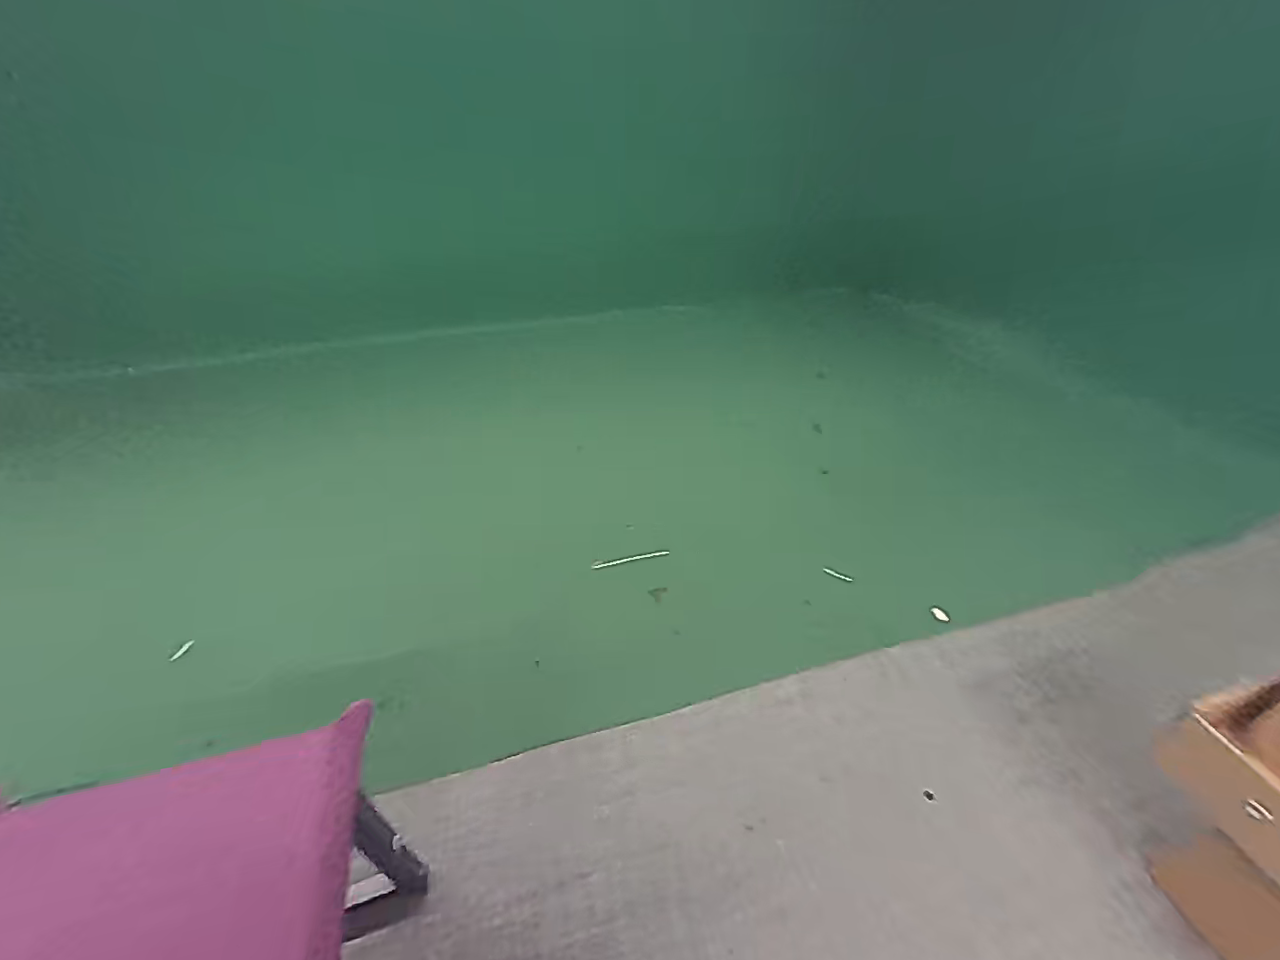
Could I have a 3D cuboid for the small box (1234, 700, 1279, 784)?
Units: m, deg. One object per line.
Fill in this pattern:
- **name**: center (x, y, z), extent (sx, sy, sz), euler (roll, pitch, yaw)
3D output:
- **small box**: center (1.437, 0.553, 1.134), extent (0.179, 0.176, 0.168), euler (-9, 40, -11)
